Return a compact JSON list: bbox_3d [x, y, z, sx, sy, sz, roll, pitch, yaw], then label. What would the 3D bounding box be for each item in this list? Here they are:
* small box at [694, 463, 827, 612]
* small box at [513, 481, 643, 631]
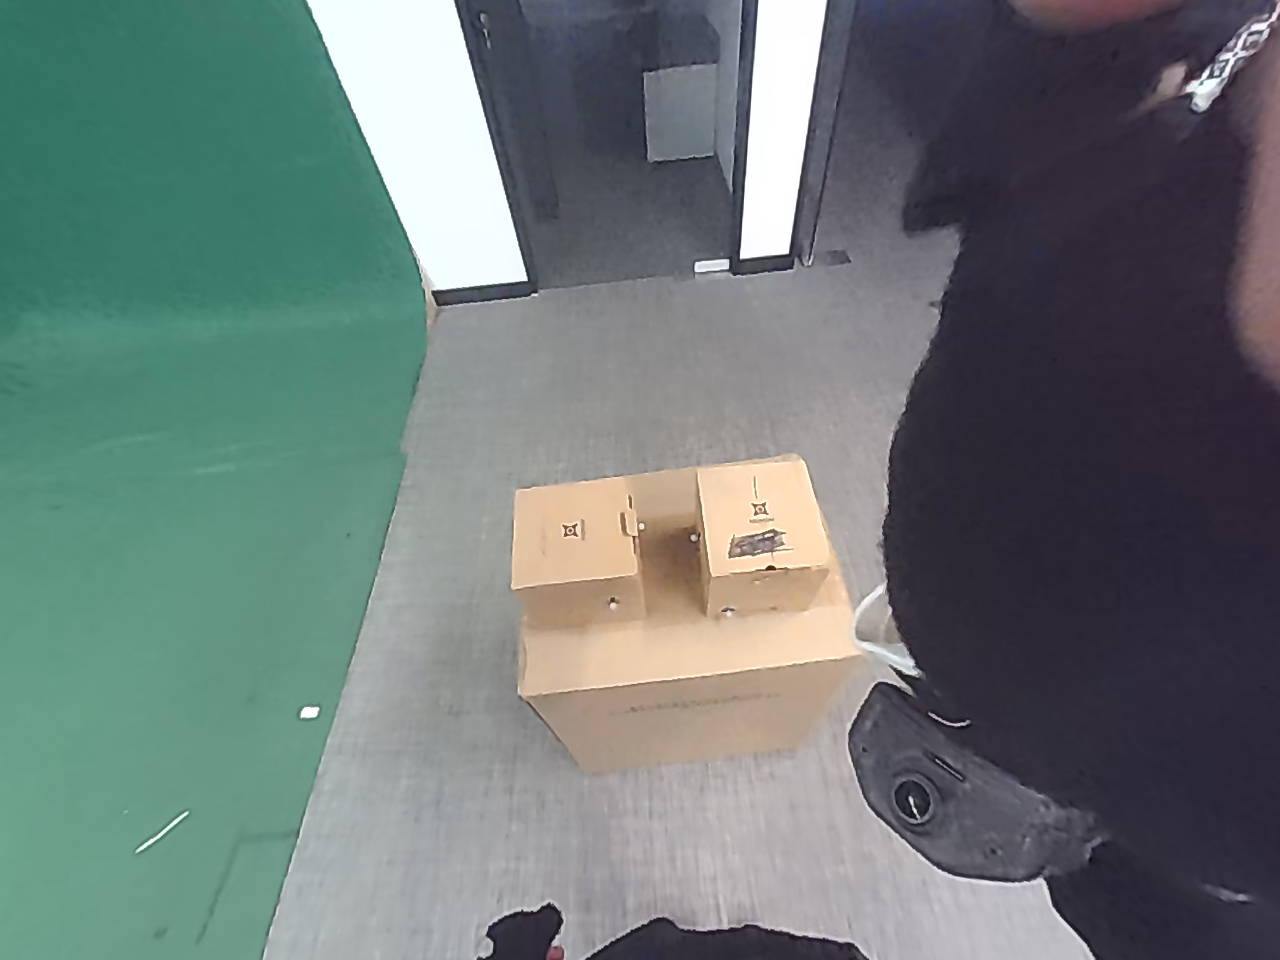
[{"bbox_3d":[0.174,0.096,0.838,0.168,0.176,0.179,-5,55,2],"label":"small box"},{"bbox_3d":[-0.089,0.124,0.849,0.179,0.176,0.168,-8,54,1],"label":"small box"}]
